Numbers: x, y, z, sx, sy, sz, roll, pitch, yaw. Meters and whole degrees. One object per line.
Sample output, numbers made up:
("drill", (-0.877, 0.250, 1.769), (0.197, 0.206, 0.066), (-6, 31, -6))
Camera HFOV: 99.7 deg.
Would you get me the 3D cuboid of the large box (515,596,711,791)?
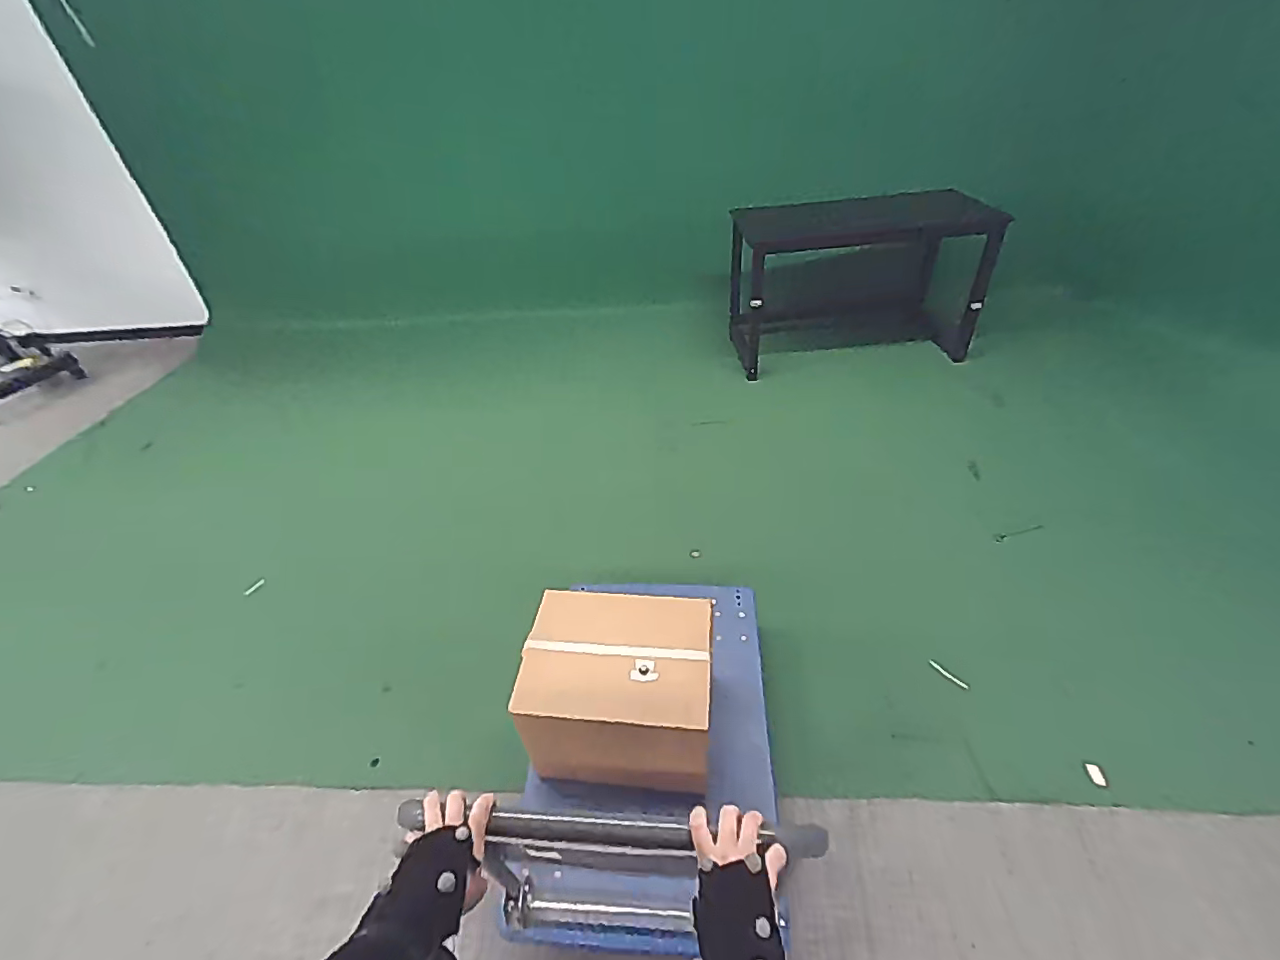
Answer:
("large box", (-0.040, 0.502, 1.286), (0.408, 0.320, 0.320), (2, 39, 7))
